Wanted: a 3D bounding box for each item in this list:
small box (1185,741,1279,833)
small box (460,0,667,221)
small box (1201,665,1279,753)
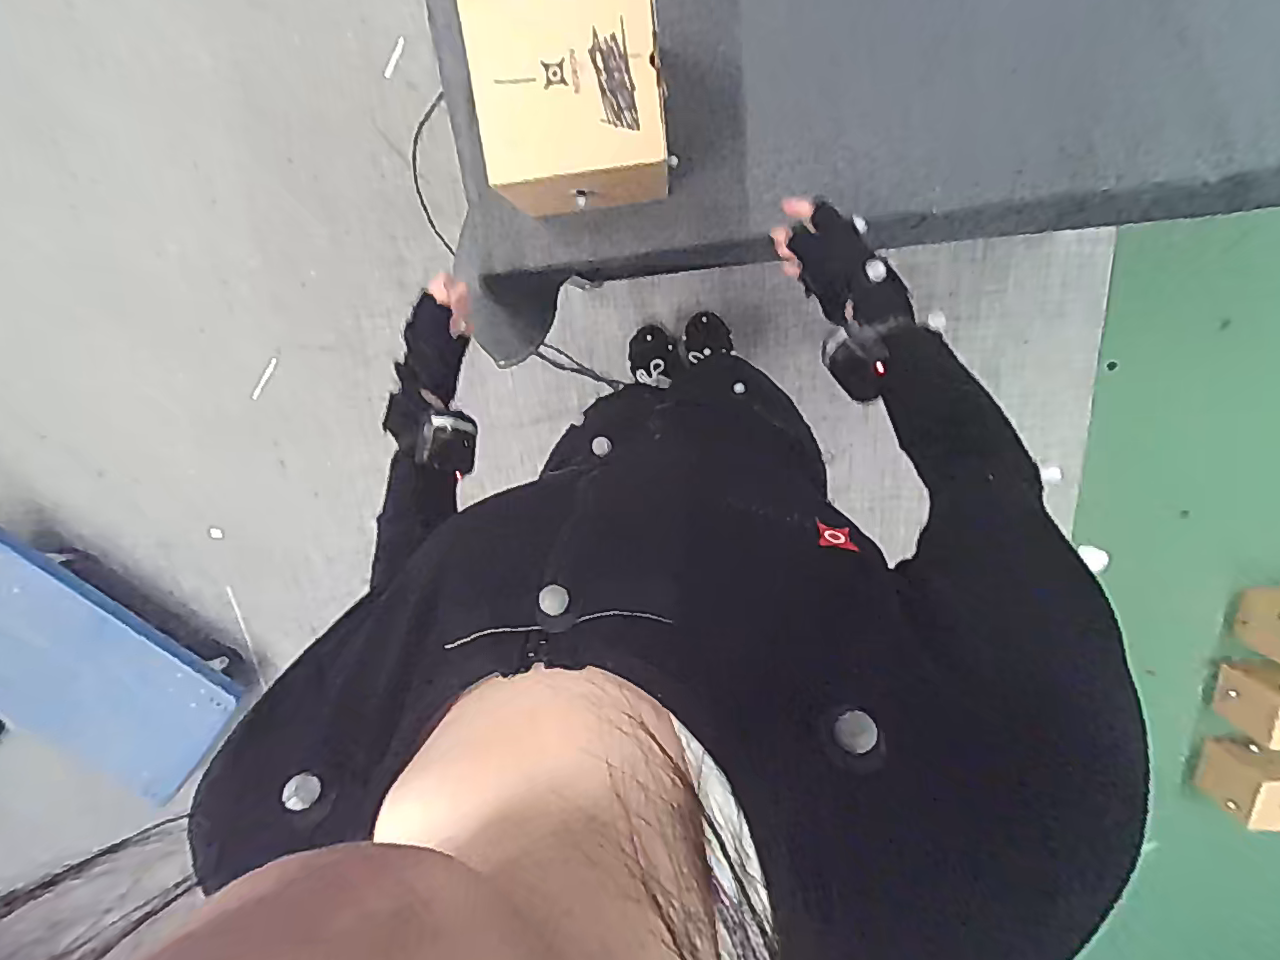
[{"bbox_3d":[1.785,0.906,1.600,0.168,0.176,0.179,-2,106,3],"label":"small box"},{"bbox_3d":[-0.065,-0.387,0.576,0.179,0.176,0.168,-5,105,5],"label":"small box"},{"bbox_3d":[1.768,0.641,1.527,0.179,0.176,0.168,-4,106,5],"label":"small box"}]
